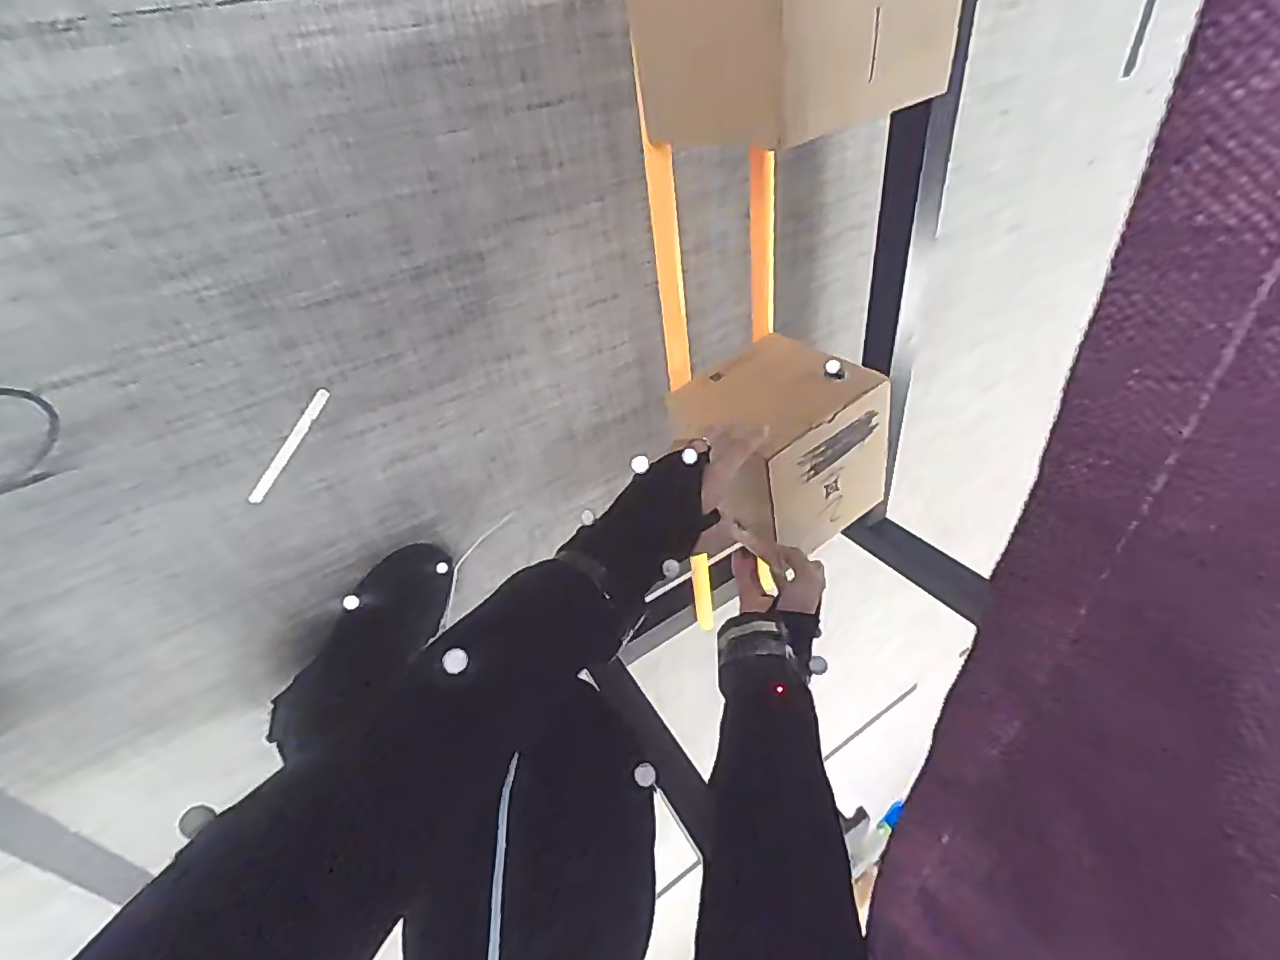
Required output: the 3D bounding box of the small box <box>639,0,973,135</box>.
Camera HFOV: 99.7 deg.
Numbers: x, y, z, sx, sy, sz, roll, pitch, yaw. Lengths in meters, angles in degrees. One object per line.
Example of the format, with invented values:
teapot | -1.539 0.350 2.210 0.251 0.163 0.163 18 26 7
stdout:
small box | 0.105 -0.356 0.368 0.168 0.176 0.179 -28 133 -17
